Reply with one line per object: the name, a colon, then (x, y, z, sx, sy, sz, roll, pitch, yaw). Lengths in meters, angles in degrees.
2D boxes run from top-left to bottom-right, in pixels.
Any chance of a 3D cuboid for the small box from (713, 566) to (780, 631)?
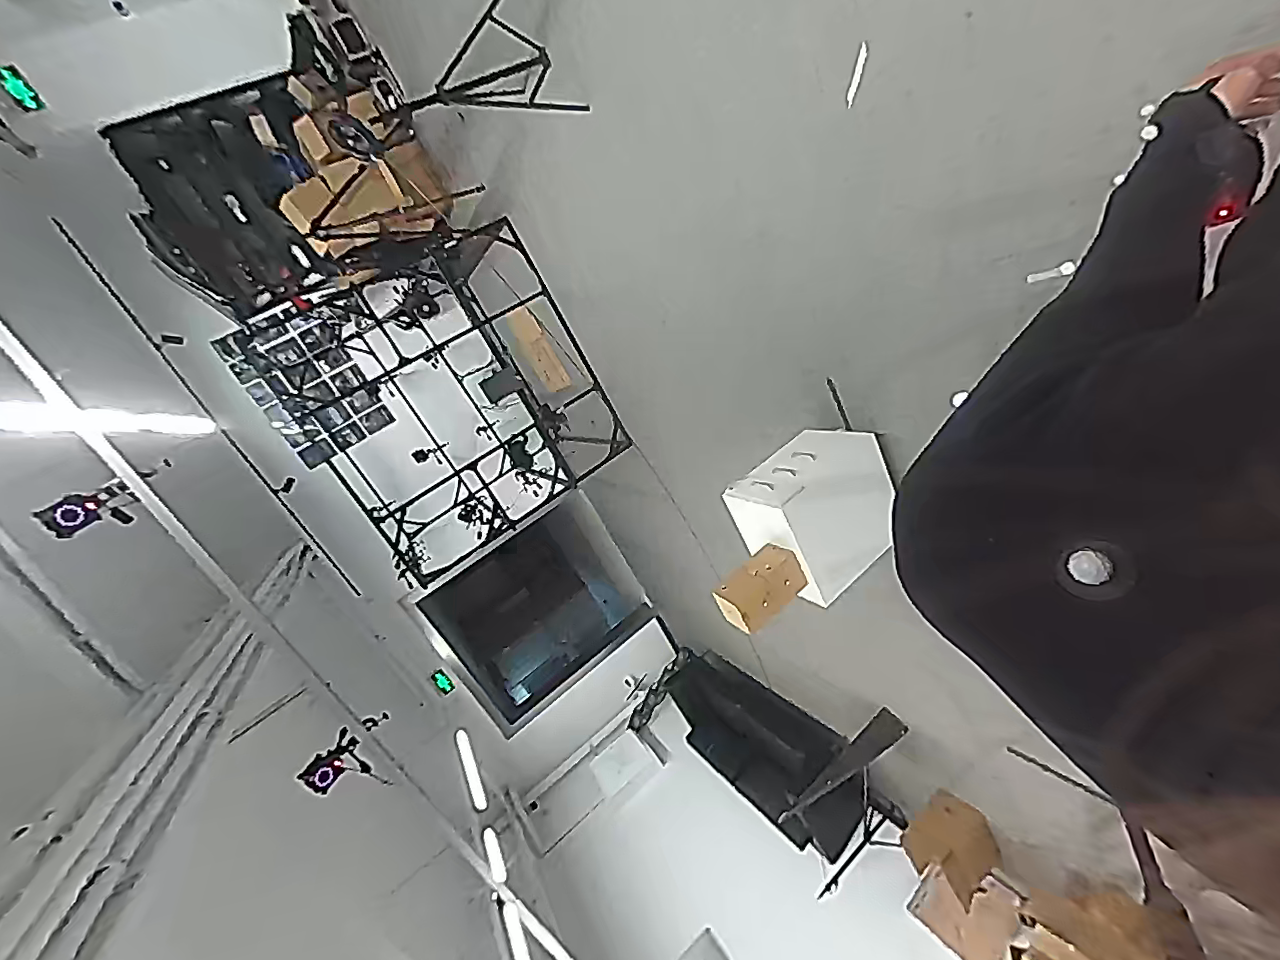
small box: (0.433, 0.474, 2.198, 0.179, 0.176, 0.168, 19, 142, 61)
